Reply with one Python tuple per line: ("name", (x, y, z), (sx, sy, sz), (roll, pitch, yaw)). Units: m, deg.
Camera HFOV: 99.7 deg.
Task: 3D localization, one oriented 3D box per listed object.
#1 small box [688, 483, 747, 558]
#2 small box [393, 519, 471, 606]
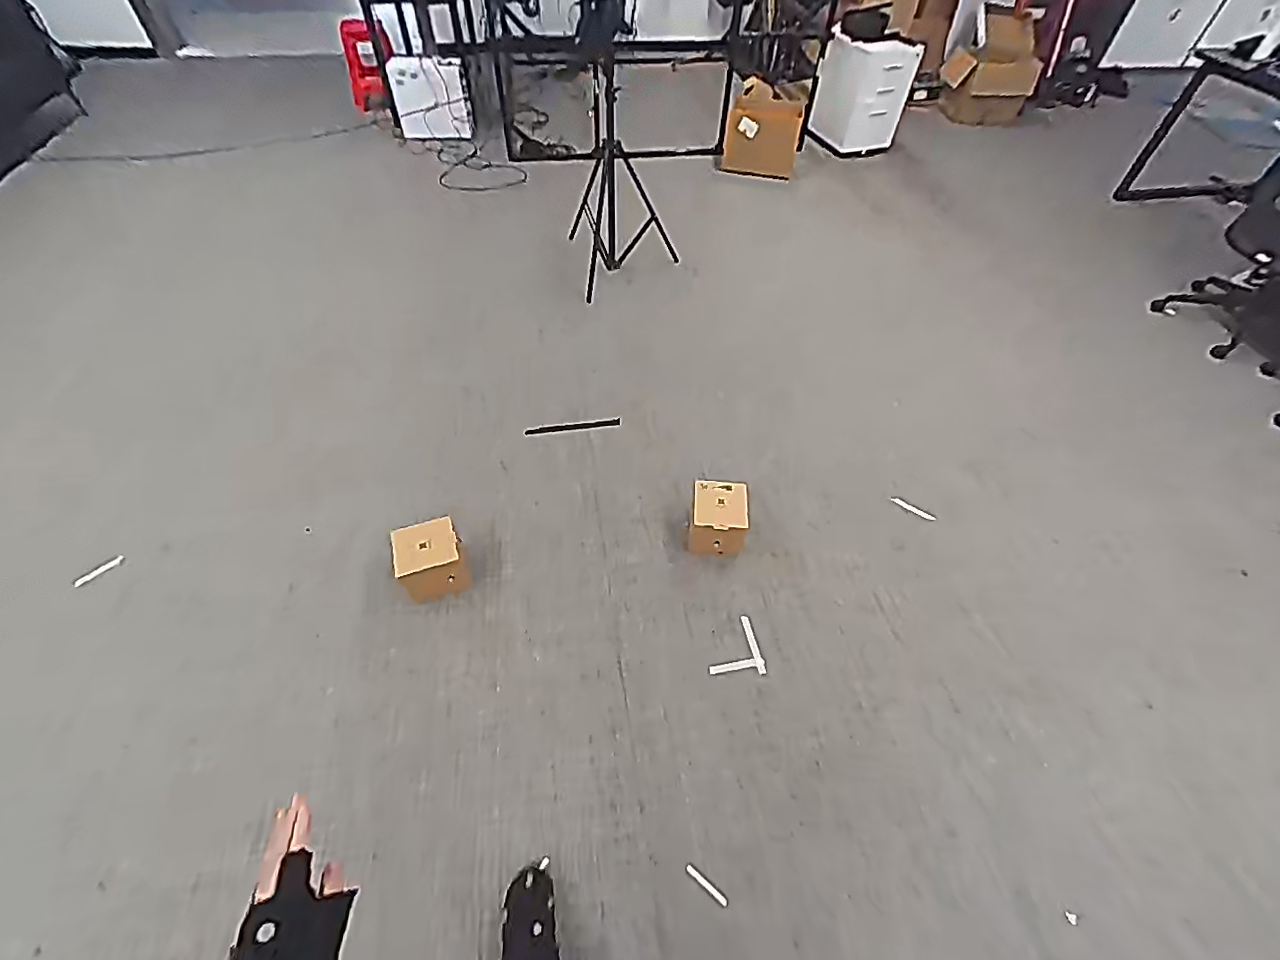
("small box", (0.247, 0.133, 1.725), (0.168, 0.176, 0.179), (5, 52, 1))
("small box", (-0.613, 0.247, 1.605), (0.179, 0.176, 0.168), (-17, 52, -13))
